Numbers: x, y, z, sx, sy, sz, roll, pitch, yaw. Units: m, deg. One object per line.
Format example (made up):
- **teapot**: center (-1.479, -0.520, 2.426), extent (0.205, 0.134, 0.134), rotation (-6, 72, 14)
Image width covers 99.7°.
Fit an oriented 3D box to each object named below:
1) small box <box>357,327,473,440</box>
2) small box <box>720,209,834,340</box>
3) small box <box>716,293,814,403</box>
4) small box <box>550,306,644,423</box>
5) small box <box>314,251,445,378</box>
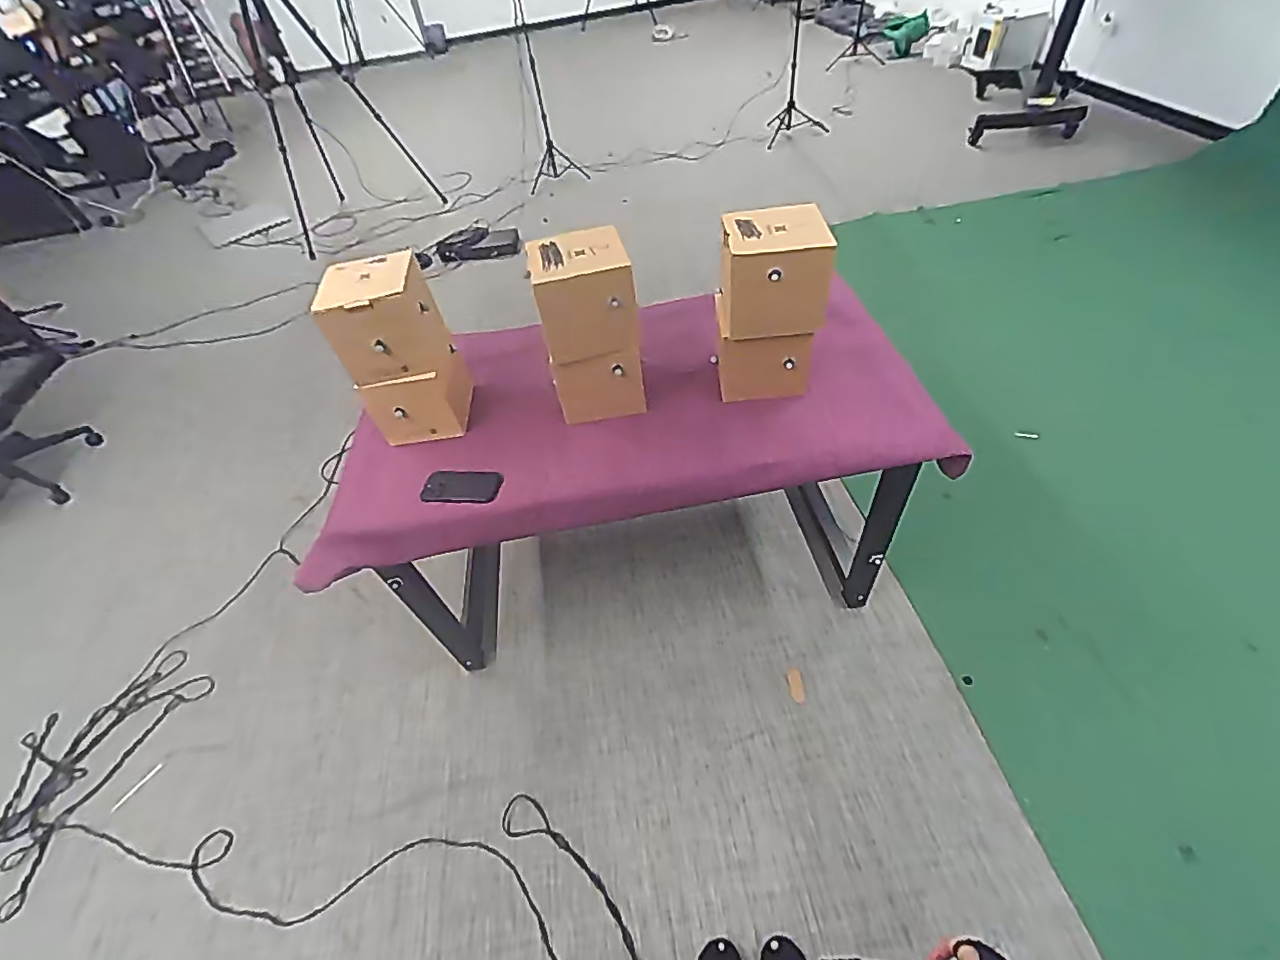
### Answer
- **small box**: center (-0.475, -0.202, 1.173), extent (0.168, 0.176, 0.179), rotation (-8, 49, 2)
- **small box**: center (0.244, -0.376, 1.002), extent (0.179, 0.176, 0.168), rotation (-3, 49, 5)
- **small box**: center (0.252, -0.279, 1.135), extent (0.179, 0.176, 0.168), rotation (-3, 48, 6)
- **small box**: center (-0.087, -0.243, 1.150), extent (0.179, 0.176, 0.168), rotation (-8, 48, 1)
- **small box**: center (-0.494, -0.315, 1.055), extent (0.168, 0.176, 0.179), rotation (-11, 49, -2)
